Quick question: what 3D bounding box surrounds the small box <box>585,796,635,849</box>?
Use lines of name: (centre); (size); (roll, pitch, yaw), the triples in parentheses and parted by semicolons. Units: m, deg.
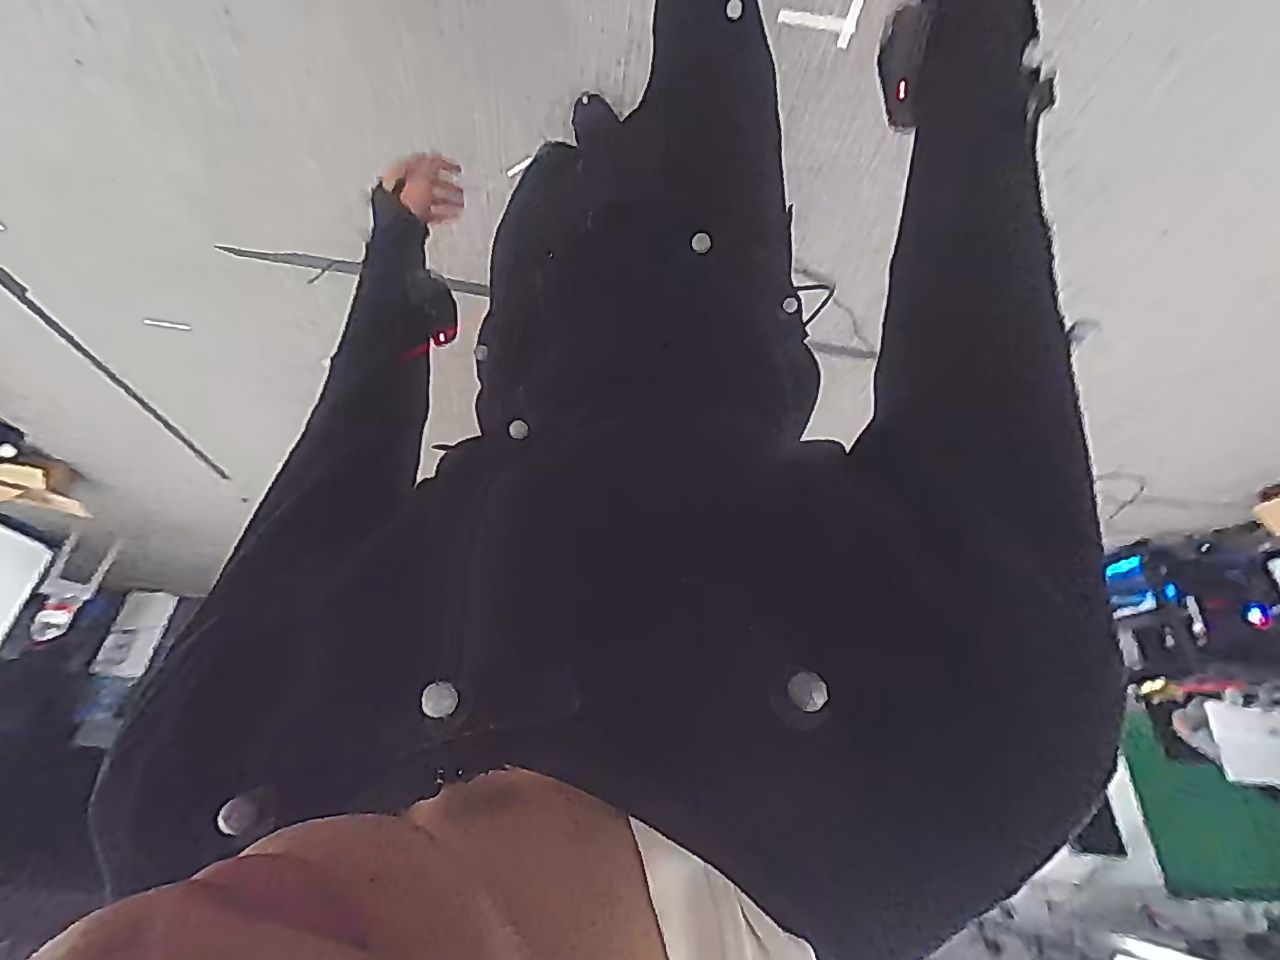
small box: (-0.123, 1.385, 2.195); (0.179, 0.176, 0.168); (7, 152, -7)
